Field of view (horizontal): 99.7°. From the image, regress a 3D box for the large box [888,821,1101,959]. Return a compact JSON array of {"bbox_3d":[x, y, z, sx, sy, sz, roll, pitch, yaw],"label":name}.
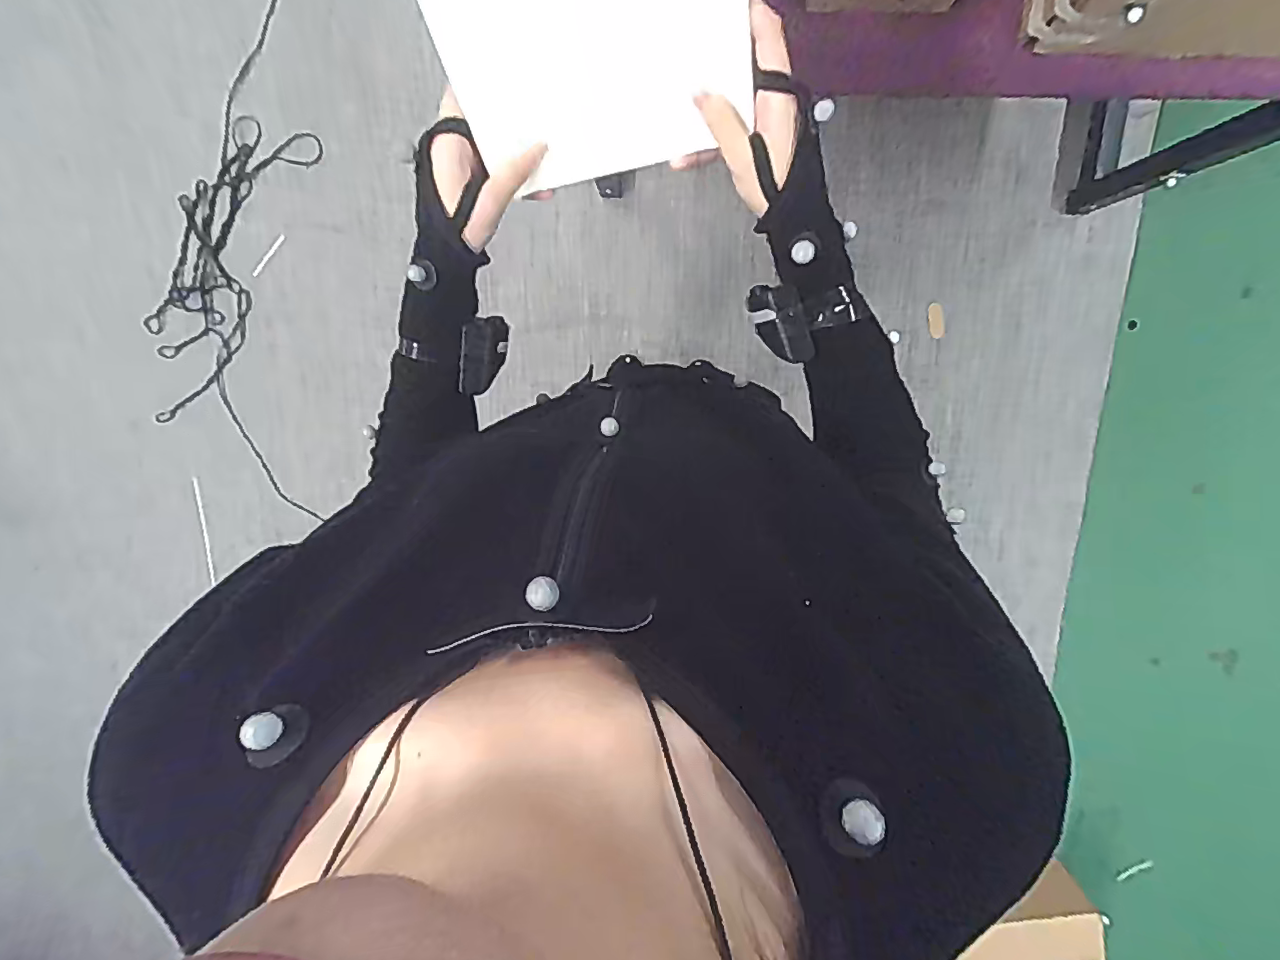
[{"bbox_3d":[0.985,1.245,1.539,0.408,0.320,0.320,-12,101,5],"label":"large box"}]
